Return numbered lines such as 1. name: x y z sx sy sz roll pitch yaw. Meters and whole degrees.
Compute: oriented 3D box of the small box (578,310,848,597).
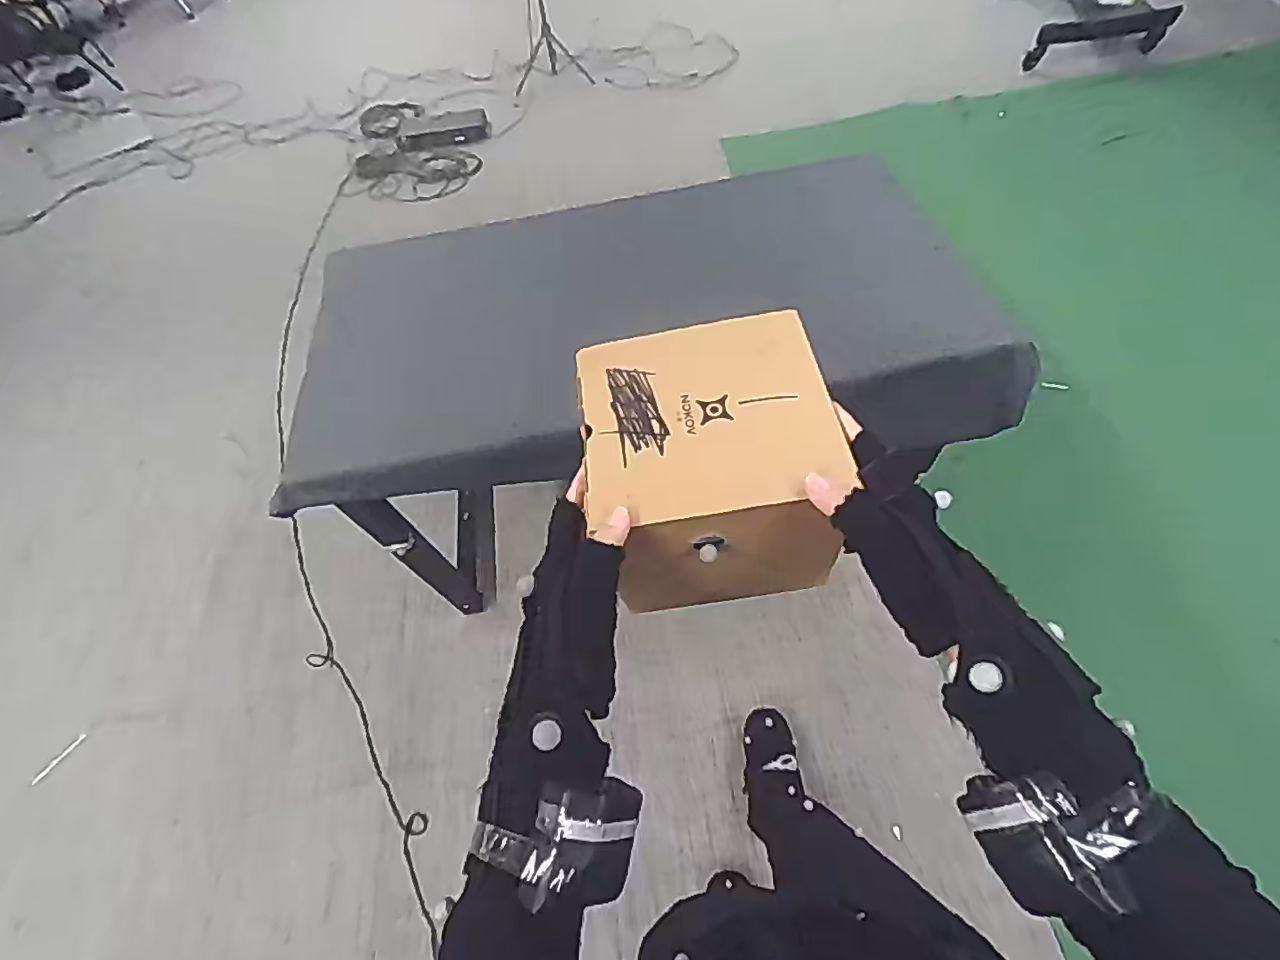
1. small box: 0.054 -0.012 0.459 0.179 0.176 0.168 -9 58 4
